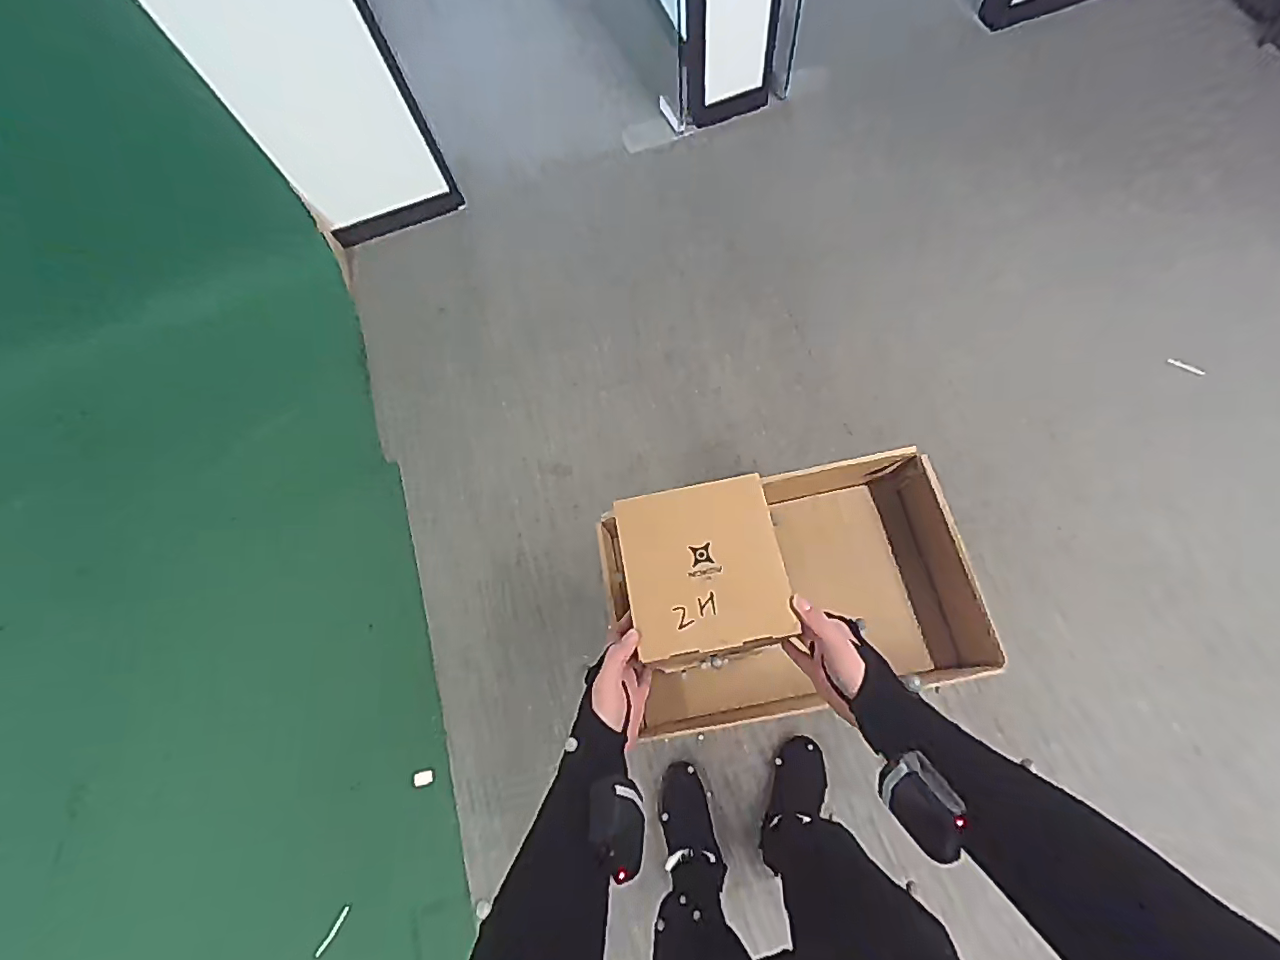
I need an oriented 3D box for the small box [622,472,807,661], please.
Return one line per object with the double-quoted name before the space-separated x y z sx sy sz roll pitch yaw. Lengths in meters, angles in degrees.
"small box" 0.077 0.110 0.634 0.168 0.176 0.179 -11 71 1
